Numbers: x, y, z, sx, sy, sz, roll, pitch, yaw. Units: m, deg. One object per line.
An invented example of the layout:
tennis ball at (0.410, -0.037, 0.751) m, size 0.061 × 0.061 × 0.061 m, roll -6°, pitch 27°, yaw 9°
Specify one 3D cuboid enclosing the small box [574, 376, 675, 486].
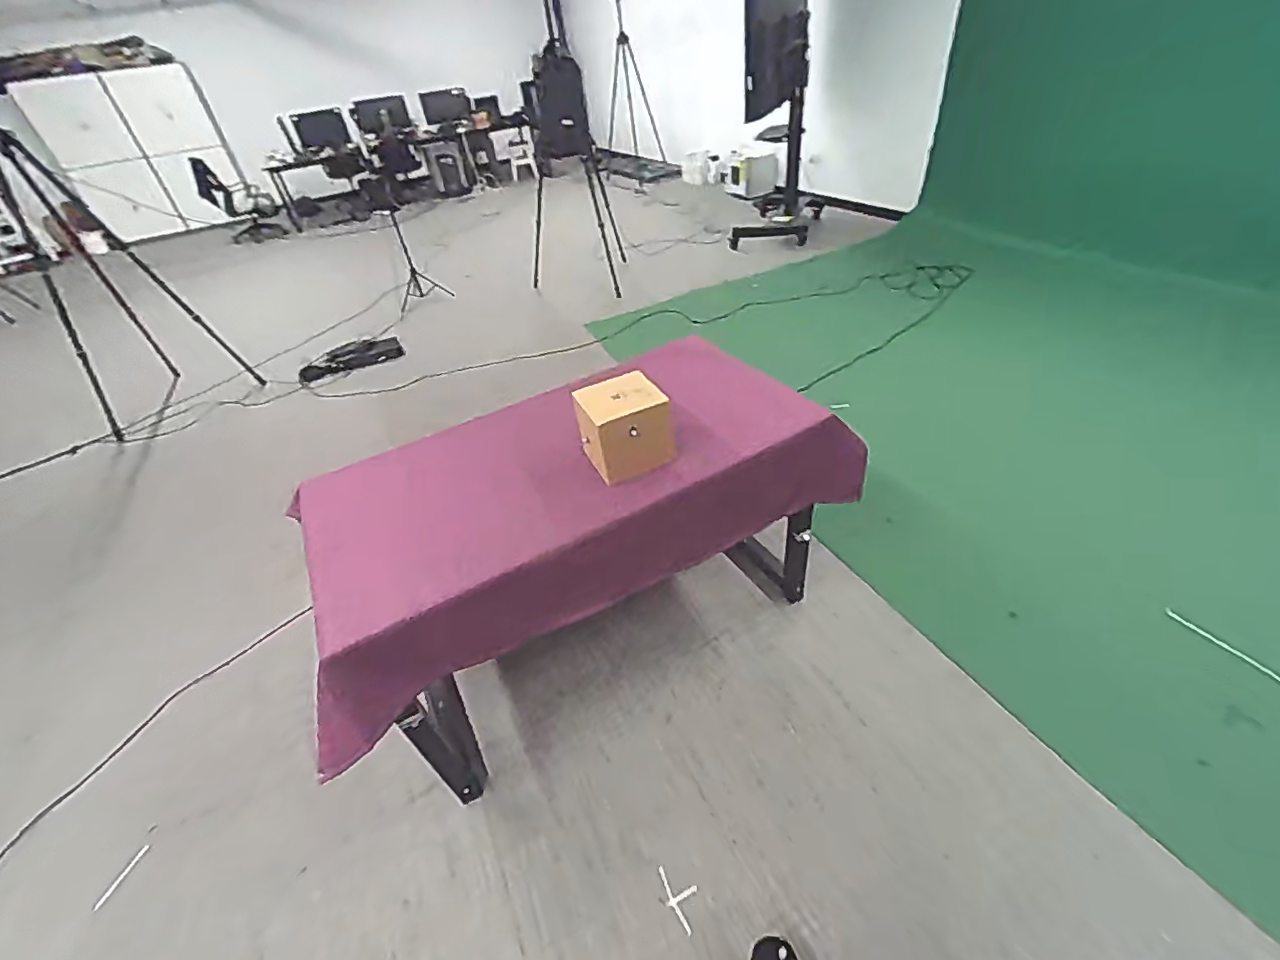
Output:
small box at (-0.032, -0.112, 1.252) m, size 0.179 × 0.176 × 0.168 m, roll -21°, pitch 41°, yaw -14°
